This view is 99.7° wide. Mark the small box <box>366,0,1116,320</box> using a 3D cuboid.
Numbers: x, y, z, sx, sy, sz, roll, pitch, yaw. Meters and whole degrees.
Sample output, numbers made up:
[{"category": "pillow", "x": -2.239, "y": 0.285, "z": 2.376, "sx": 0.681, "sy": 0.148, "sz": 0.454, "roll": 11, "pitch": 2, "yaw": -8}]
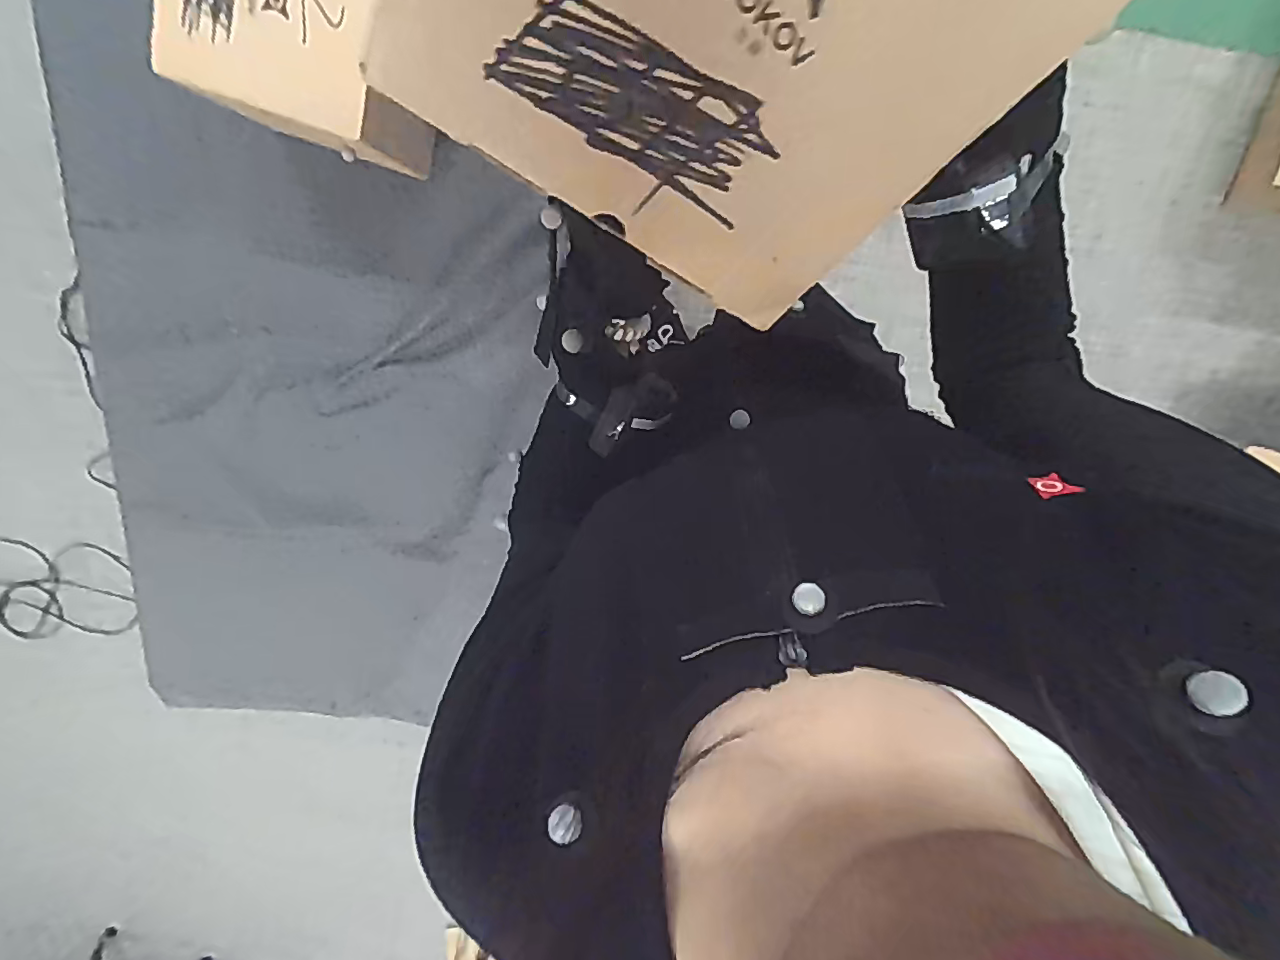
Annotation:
[{"category": "small box", "x": 0.030, "y": -0.201, "z": 0.189, "sx": 0.168, "sy": 0.176, "sz": 0.179, "roll": 20, "pitch": 140, "yaw": -32}]
